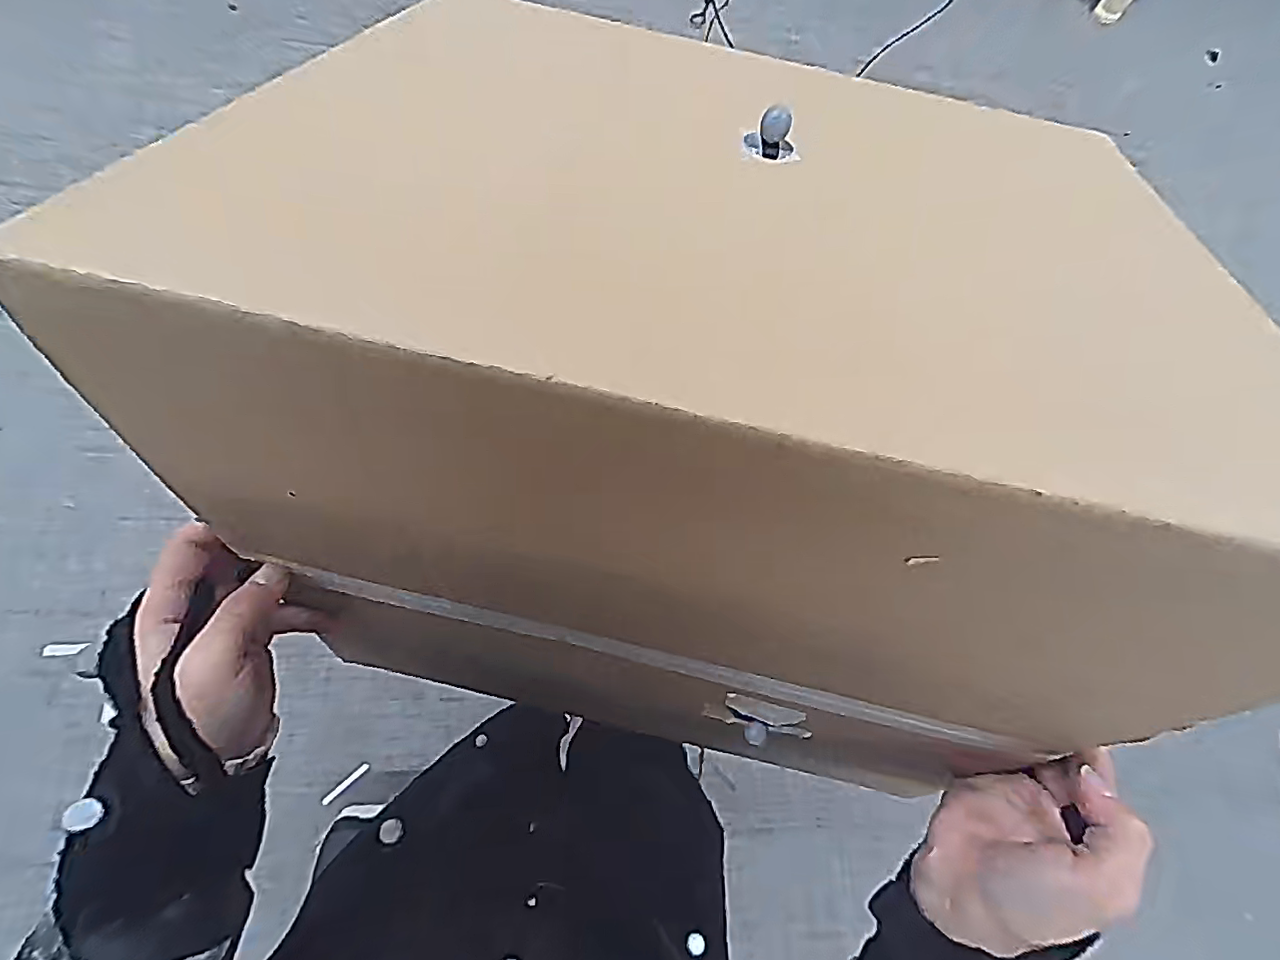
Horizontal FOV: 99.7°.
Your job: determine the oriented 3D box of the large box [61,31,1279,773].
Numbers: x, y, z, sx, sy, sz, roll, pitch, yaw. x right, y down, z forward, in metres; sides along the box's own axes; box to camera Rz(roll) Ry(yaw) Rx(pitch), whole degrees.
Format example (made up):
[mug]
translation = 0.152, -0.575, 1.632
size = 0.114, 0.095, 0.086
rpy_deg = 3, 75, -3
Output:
[large box]
translation = 0.031, -0.040, 0.358
size = 0.408, 0.320, 0.320
rpy_deg = 12, 54, 1
